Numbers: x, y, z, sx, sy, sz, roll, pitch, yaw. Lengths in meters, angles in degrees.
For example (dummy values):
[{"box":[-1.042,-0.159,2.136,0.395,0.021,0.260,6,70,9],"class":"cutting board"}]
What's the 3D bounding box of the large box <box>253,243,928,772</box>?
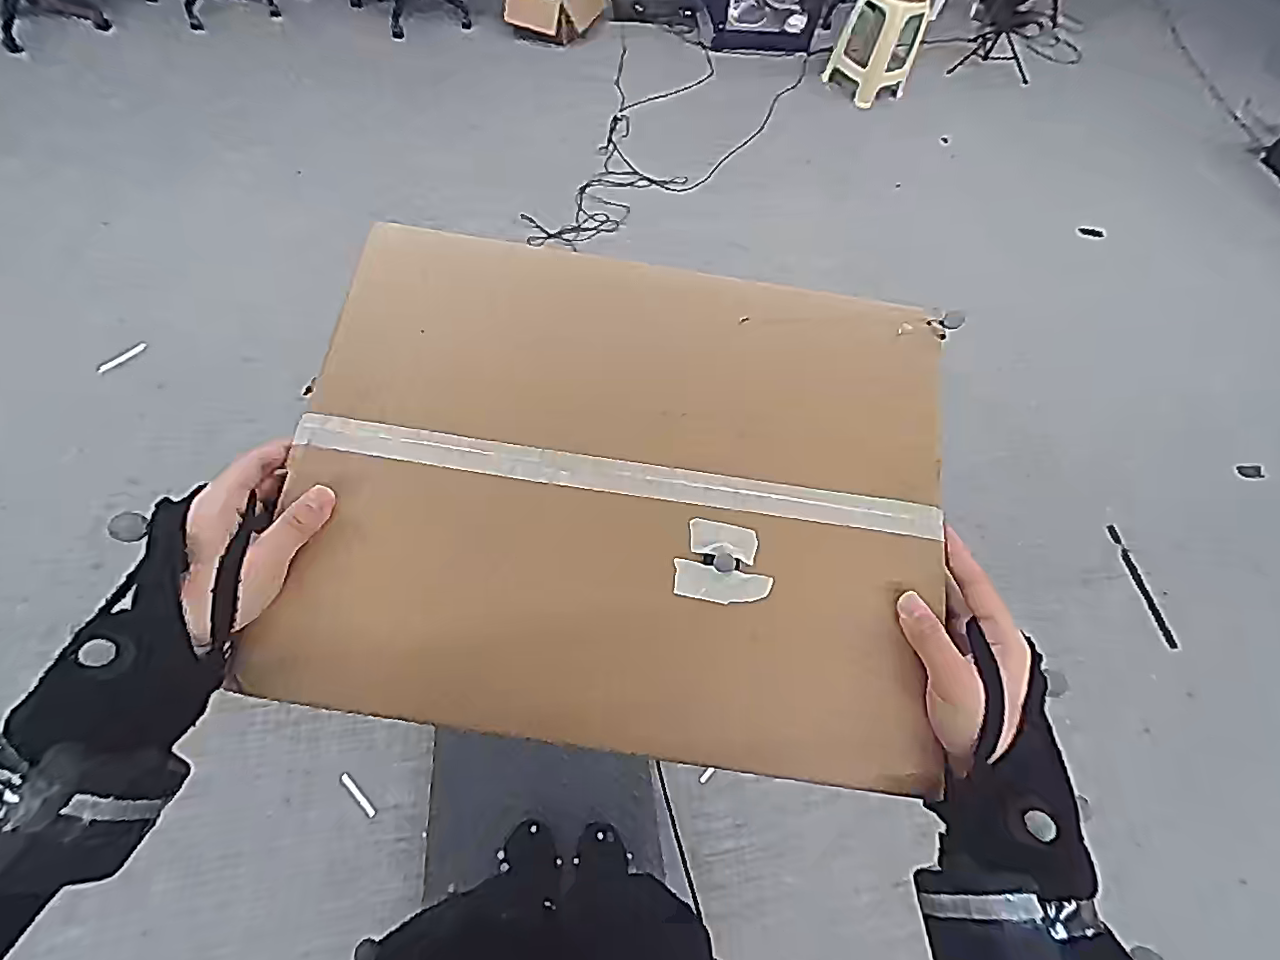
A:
[{"box":[-0.018,0.038,0.496,0.408,0.320,0.320,9,75,-1],"class":"large box"}]
